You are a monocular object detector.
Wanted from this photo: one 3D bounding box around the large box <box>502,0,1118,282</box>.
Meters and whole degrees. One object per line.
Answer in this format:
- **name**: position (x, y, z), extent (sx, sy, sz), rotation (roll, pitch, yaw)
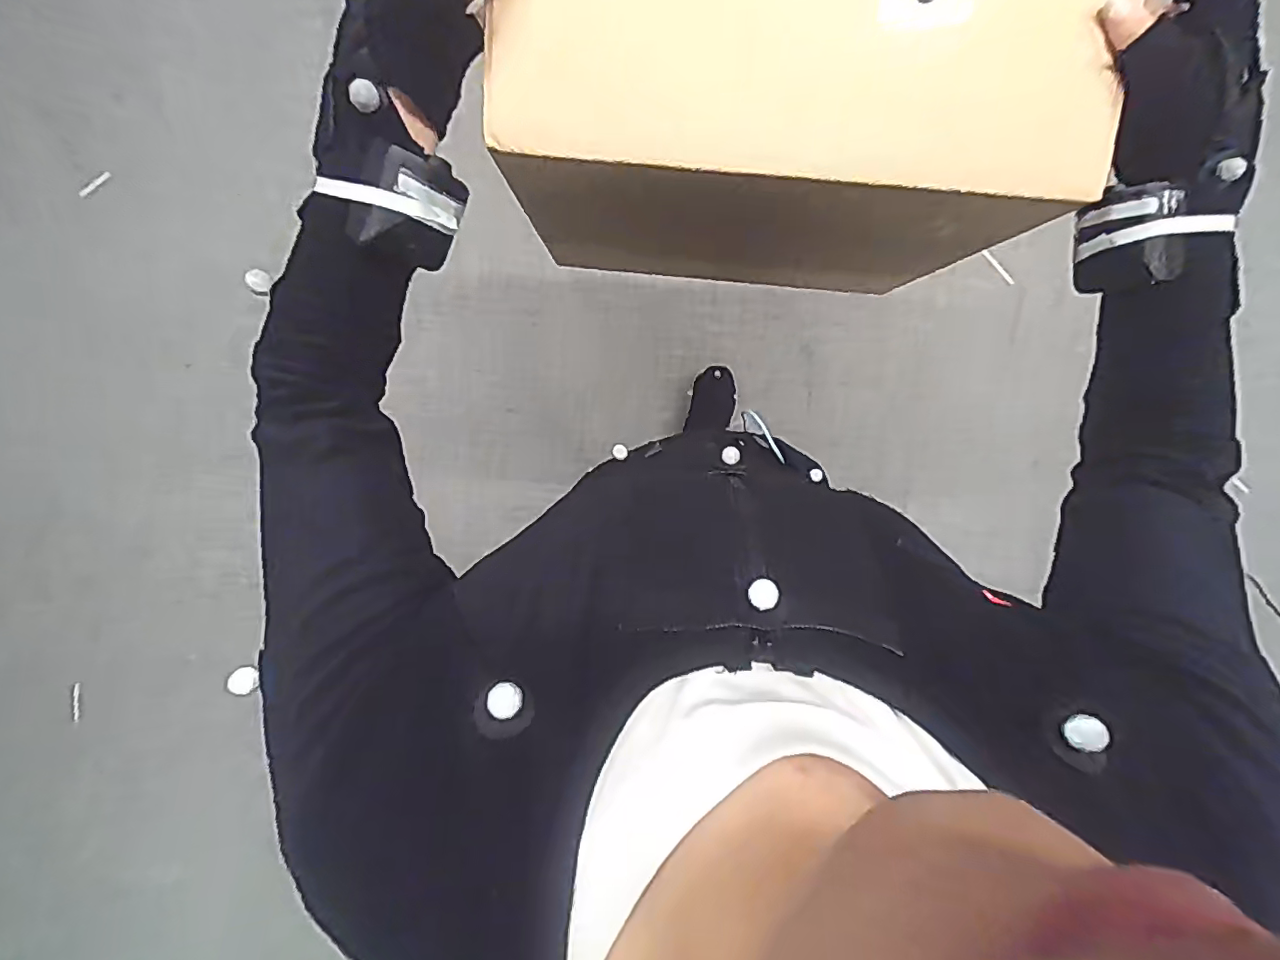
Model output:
- **large box**: position (0.111, -0.381, 0.490), extent (0.408, 0.320, 0.320), rotation (4, 99, -1)
